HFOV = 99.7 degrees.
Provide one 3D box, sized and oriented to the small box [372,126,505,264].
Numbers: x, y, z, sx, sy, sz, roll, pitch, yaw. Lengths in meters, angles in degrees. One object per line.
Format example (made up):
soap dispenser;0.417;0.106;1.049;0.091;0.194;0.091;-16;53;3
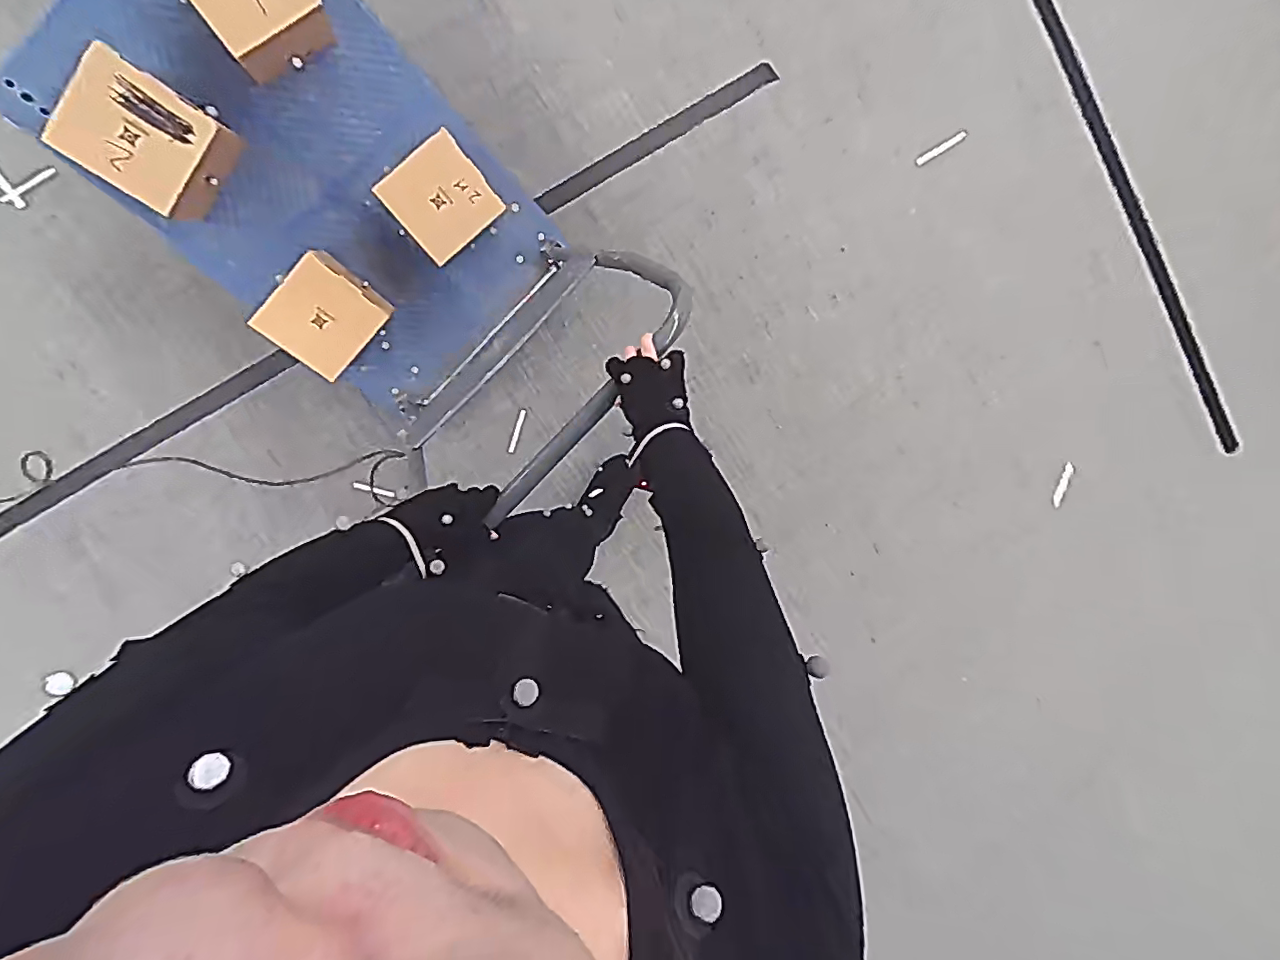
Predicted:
small box;-0.392;-0.550;1.068;0.179;0.176;0.168;-42;120;-1

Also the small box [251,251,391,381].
small box;-0.616;-0.325;1.074;0.168;0.176;0.179;39;92;-29

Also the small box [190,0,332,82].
small box;-0.636;-0.794;0.873;0.168;0.176;0.179;-37;120;-3
